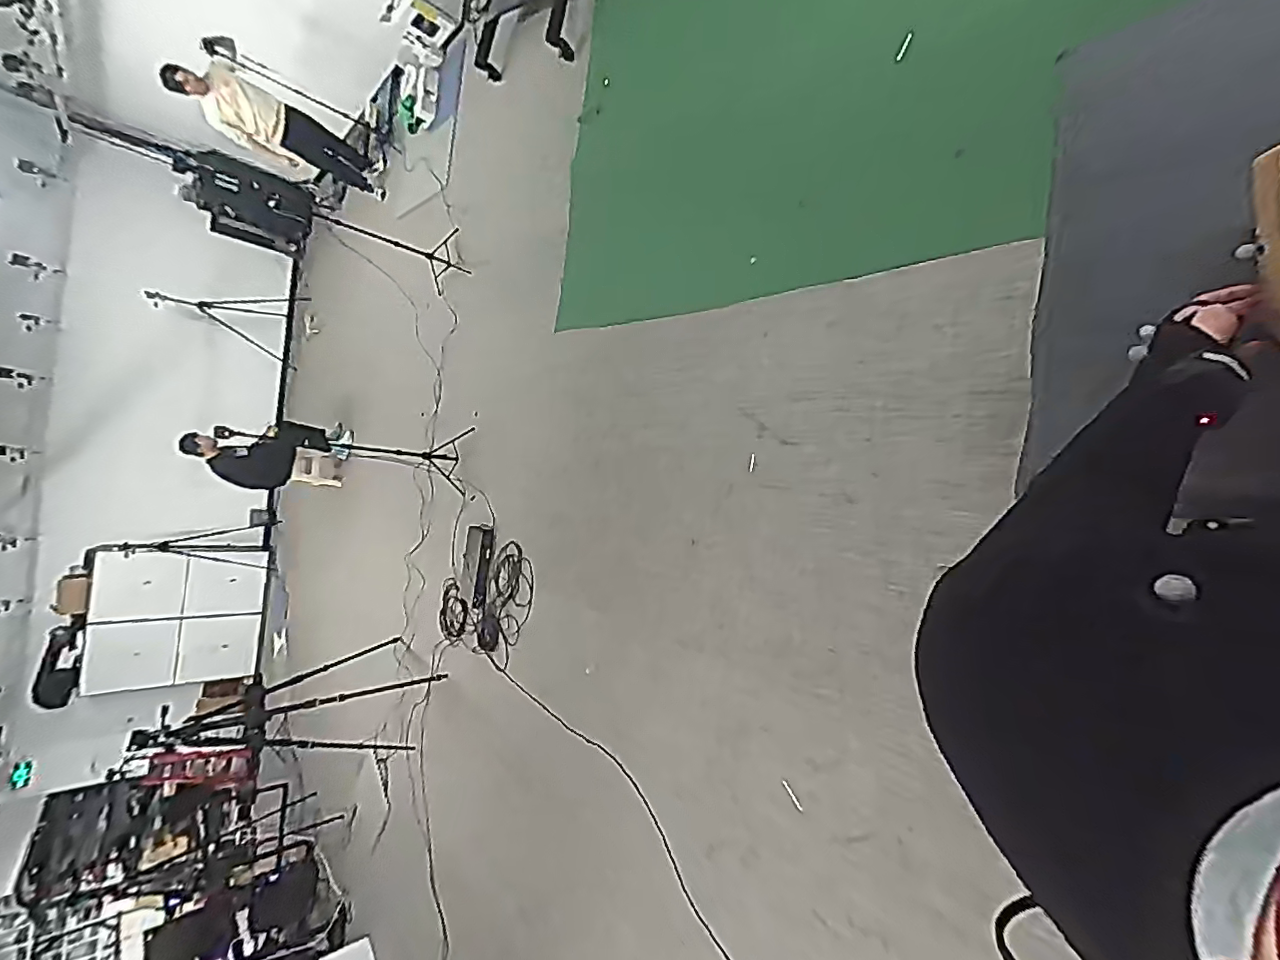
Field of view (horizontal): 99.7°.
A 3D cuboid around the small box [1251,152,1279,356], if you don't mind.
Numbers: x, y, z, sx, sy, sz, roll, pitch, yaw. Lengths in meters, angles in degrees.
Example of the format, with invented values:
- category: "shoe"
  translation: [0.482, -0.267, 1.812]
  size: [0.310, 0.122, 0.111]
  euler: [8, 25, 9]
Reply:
- category: "small box"
  translation: [0.656, -0.220, 0.460]
  size: [0.168, 0.176, 0.179]
  euler: [-5, 106, 44]
